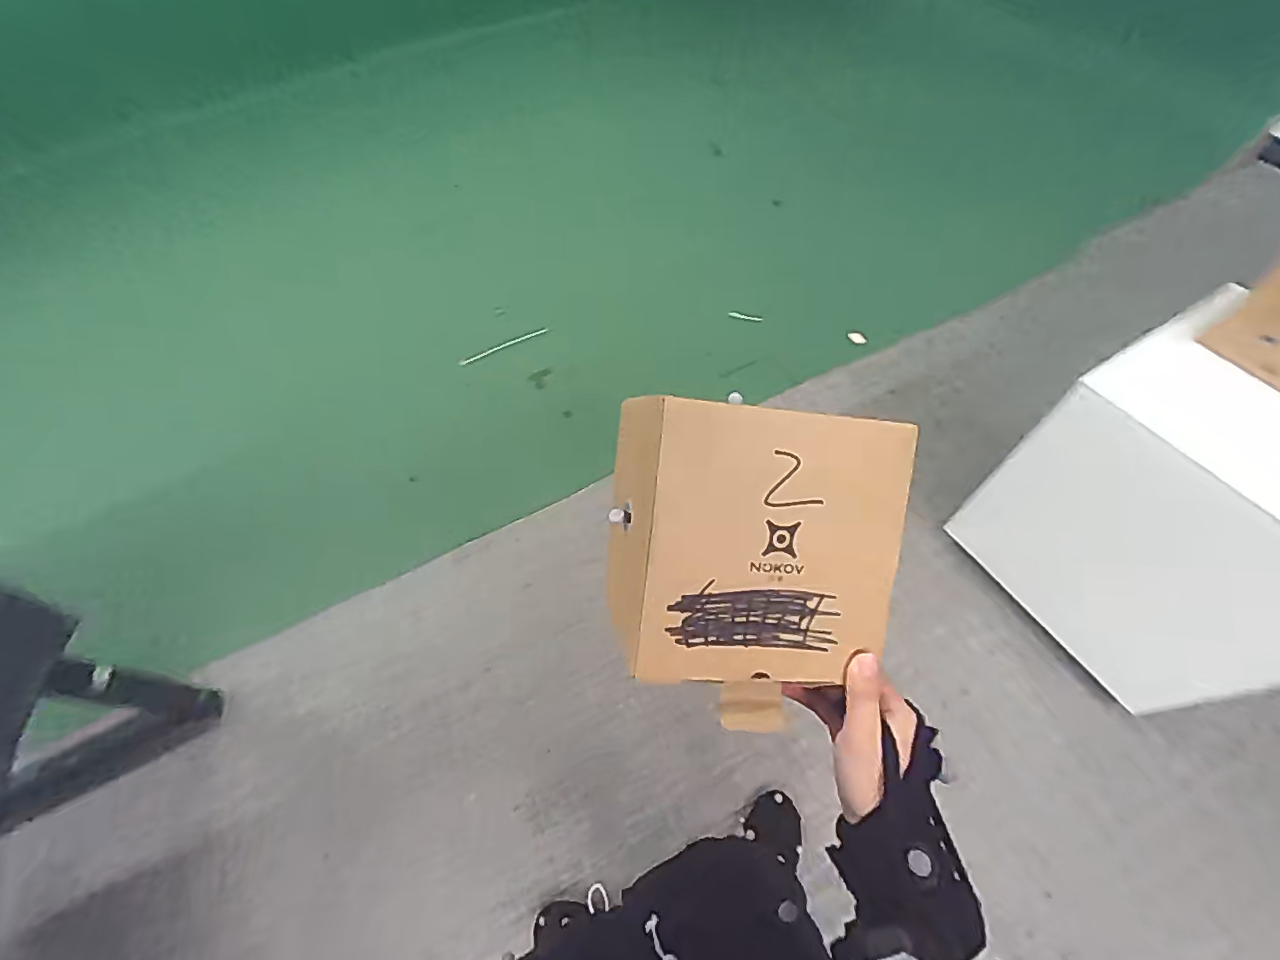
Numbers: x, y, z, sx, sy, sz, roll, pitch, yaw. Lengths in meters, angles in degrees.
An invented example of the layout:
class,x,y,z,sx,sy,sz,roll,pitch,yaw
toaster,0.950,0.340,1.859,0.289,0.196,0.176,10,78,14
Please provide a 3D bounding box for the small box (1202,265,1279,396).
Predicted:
class,x,y,z,sx,sy,sz,roll,pitch,yaw
small box,1.024,-0.255,0.807,0.179,0.176,0.168,-31,62,-11
